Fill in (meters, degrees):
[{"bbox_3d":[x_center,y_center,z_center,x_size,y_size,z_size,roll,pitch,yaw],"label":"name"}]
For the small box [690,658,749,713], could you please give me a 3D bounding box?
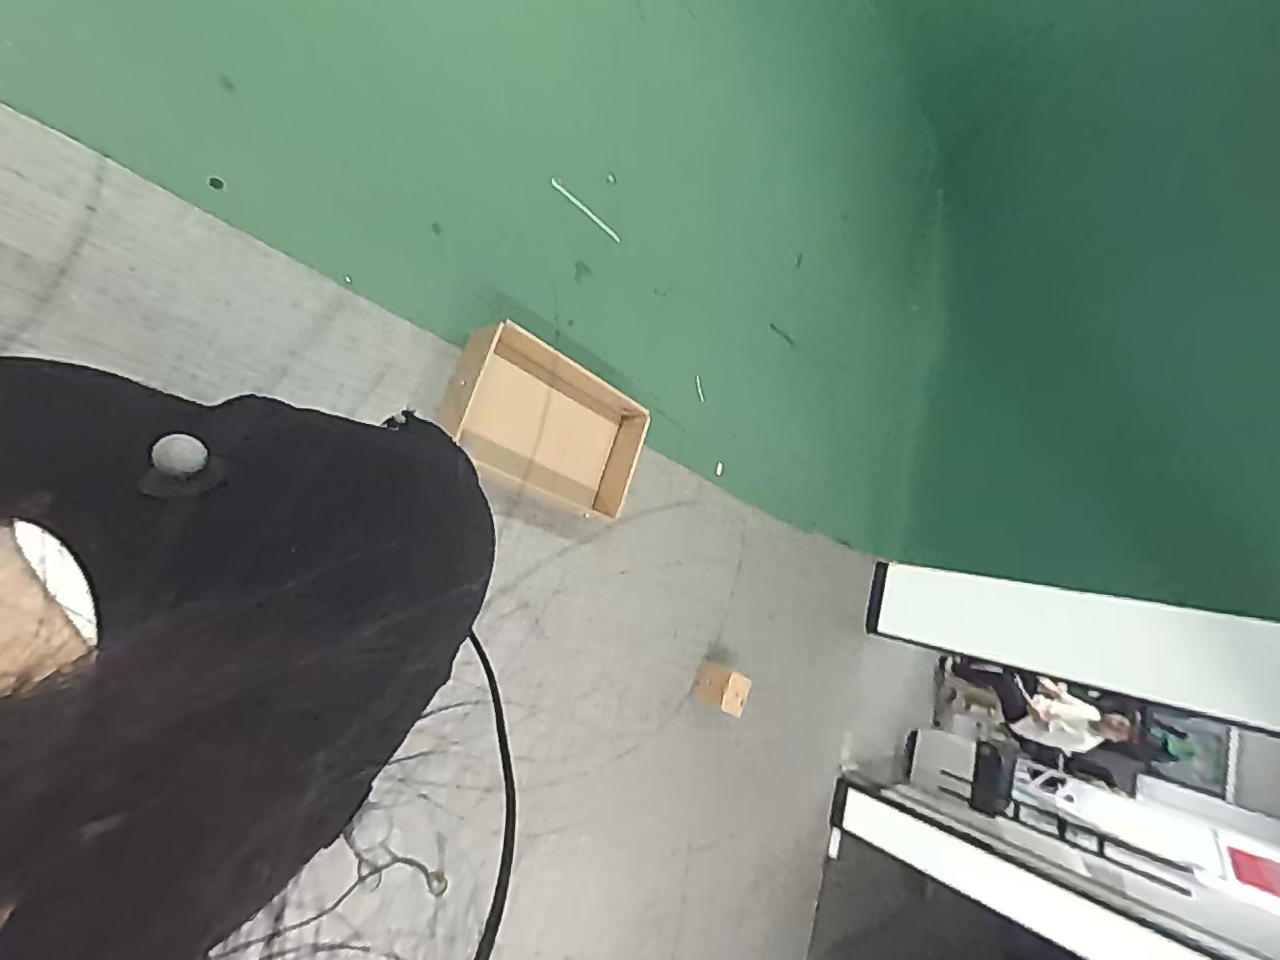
[{"bbox_3d":[0.351,0.905,2.397,0.179,0.176,0.168,40,67,-38],"label":"small box"}]
